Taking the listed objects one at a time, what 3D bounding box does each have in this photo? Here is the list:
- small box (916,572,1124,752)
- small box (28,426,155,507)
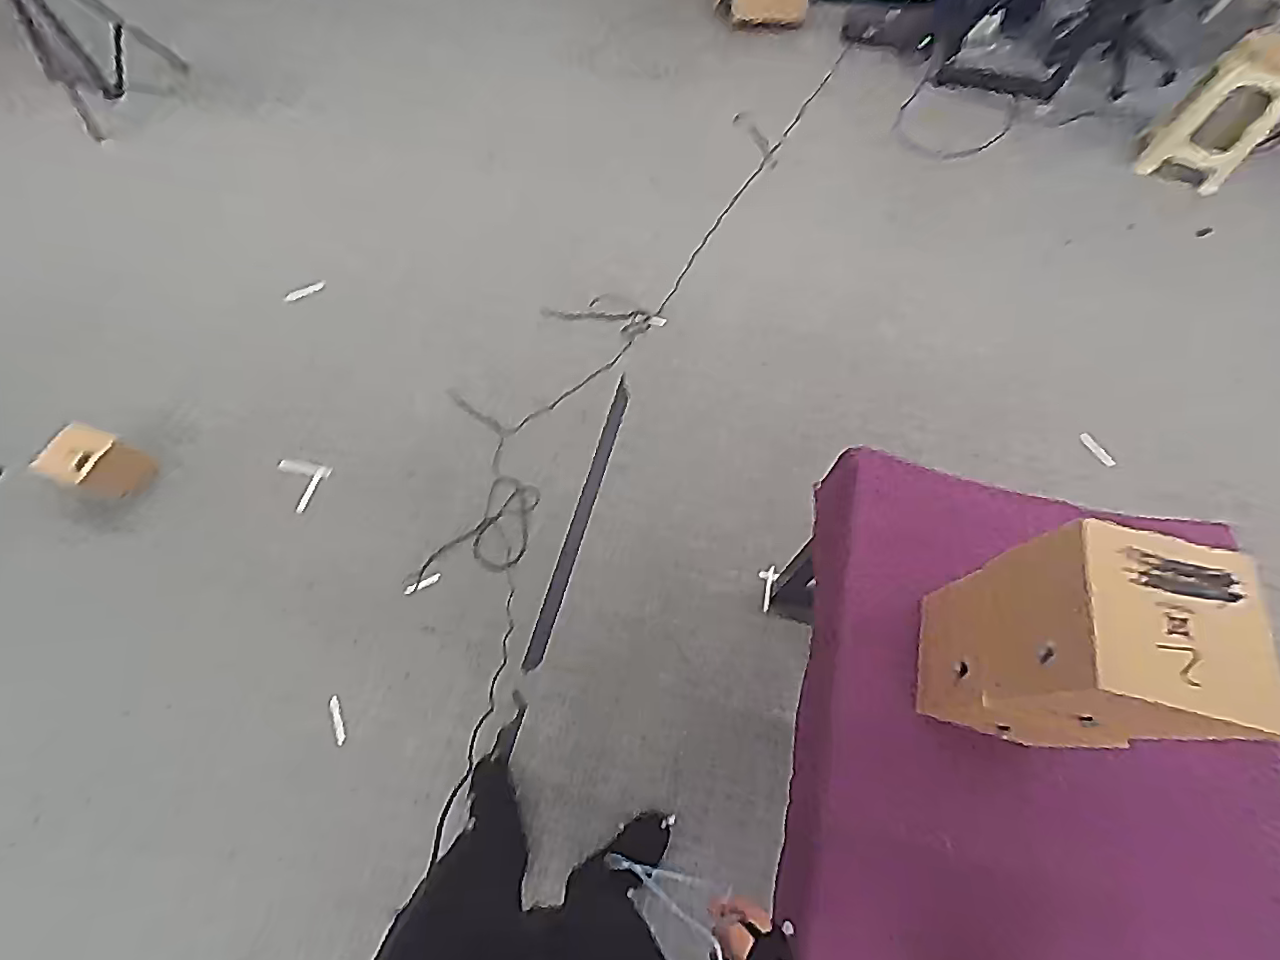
[{"bbox_3d":[0.495,0.249,0.729,0.168,0.176,0.179,15,65,6],"label":"small box"},{"bbox_3d":[-1.657,-0.034,1.648,0.179,0.176,0.168,16,64,8],"label":"small box"}]
